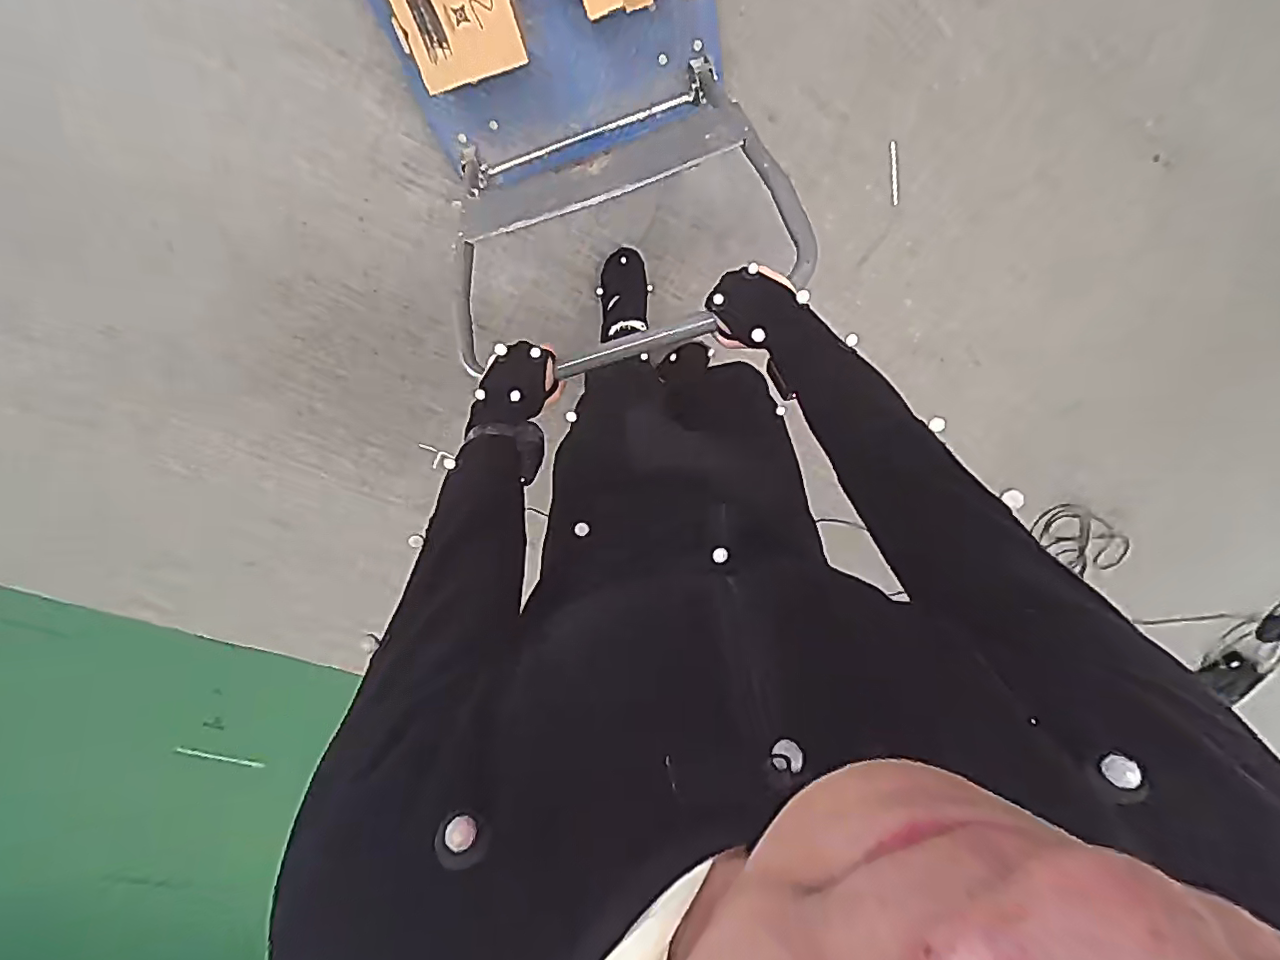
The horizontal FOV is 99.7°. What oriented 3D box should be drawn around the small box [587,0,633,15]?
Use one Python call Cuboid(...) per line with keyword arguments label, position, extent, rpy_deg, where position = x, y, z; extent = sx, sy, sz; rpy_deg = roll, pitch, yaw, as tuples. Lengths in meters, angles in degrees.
Cuboid(label="small box", position=(-0.033, -0.860, 0.827), extent=(0.168, 0.176, 0.179), rpy_deg=(-16, 139, 7))
